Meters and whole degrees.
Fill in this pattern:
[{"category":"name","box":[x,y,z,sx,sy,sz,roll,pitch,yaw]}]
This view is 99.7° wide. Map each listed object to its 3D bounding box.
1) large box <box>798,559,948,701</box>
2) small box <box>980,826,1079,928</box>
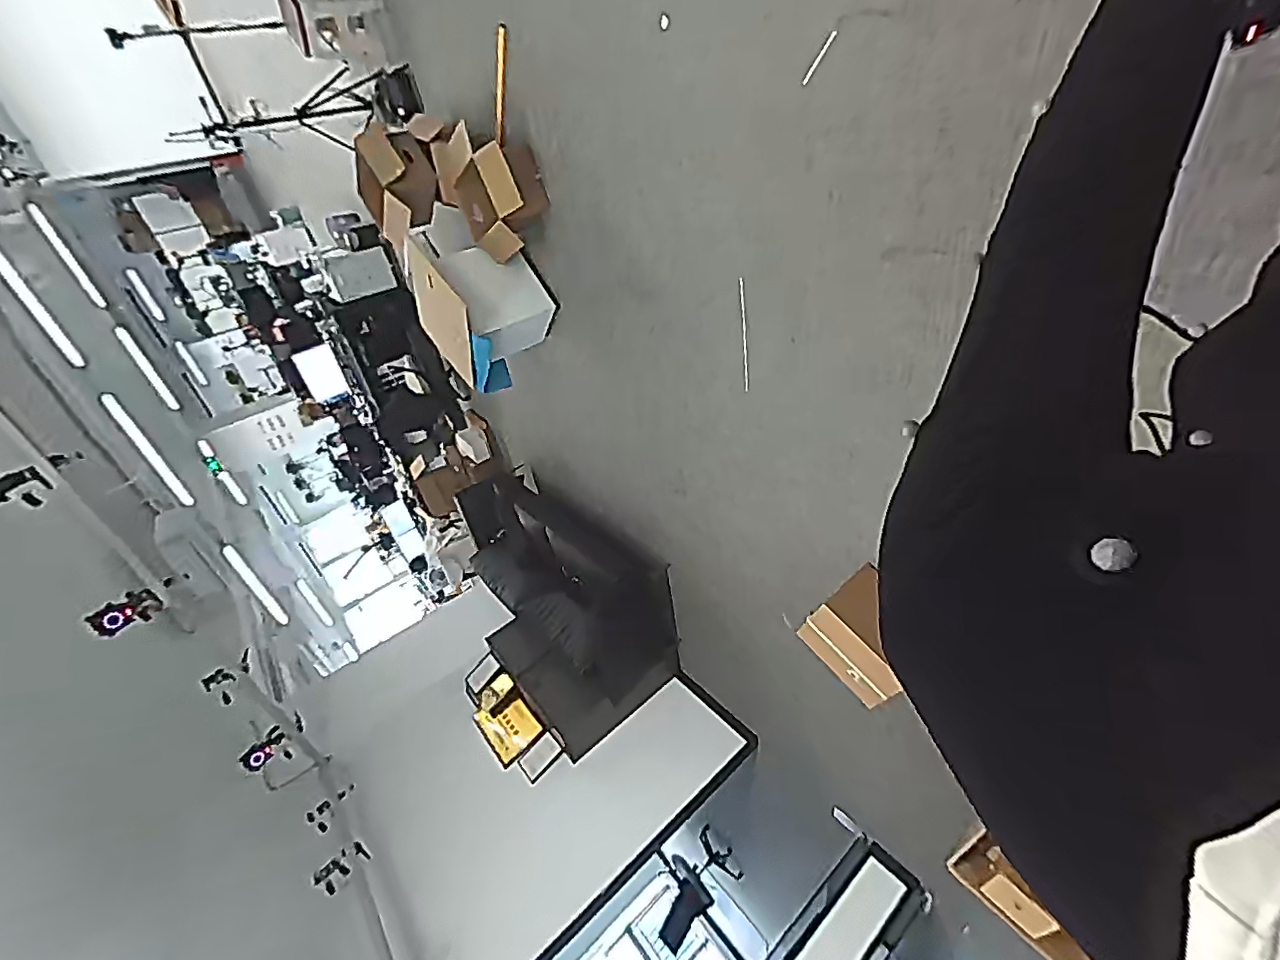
[{"category":"large box","box":[0.937,0.607,2.213,0.408,0.320,0.320,45,150,23]},{"category":"small box","box":[1.188,1.207,1.648,0.168,0.176,0.179,36,144,36]}]
